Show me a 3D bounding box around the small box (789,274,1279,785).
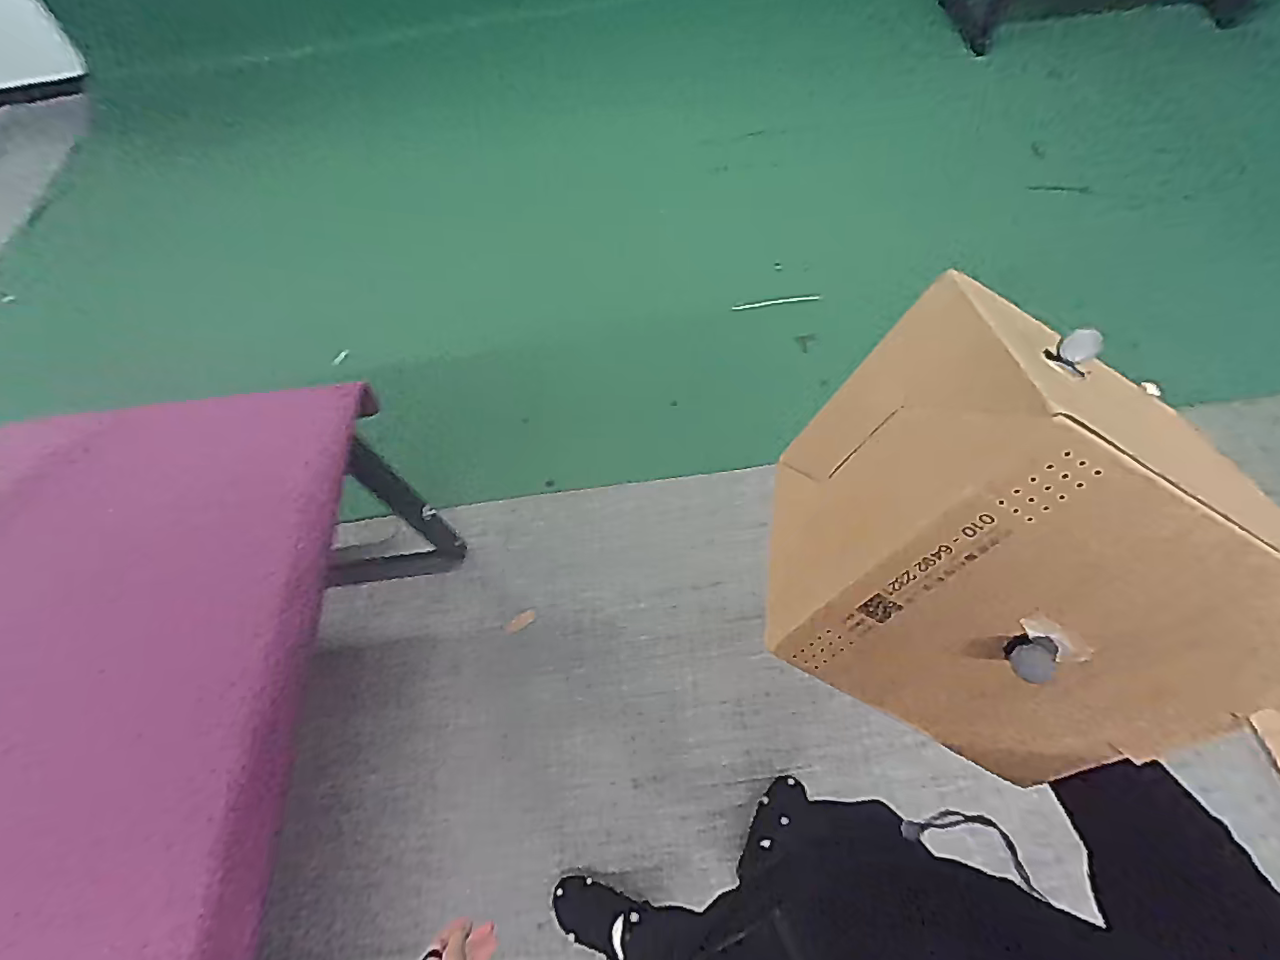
[{"bbox_3d":[0.197,0.018,0.295,0.176,0.168,0.179,31,38,-4],"label":"small box"}]
